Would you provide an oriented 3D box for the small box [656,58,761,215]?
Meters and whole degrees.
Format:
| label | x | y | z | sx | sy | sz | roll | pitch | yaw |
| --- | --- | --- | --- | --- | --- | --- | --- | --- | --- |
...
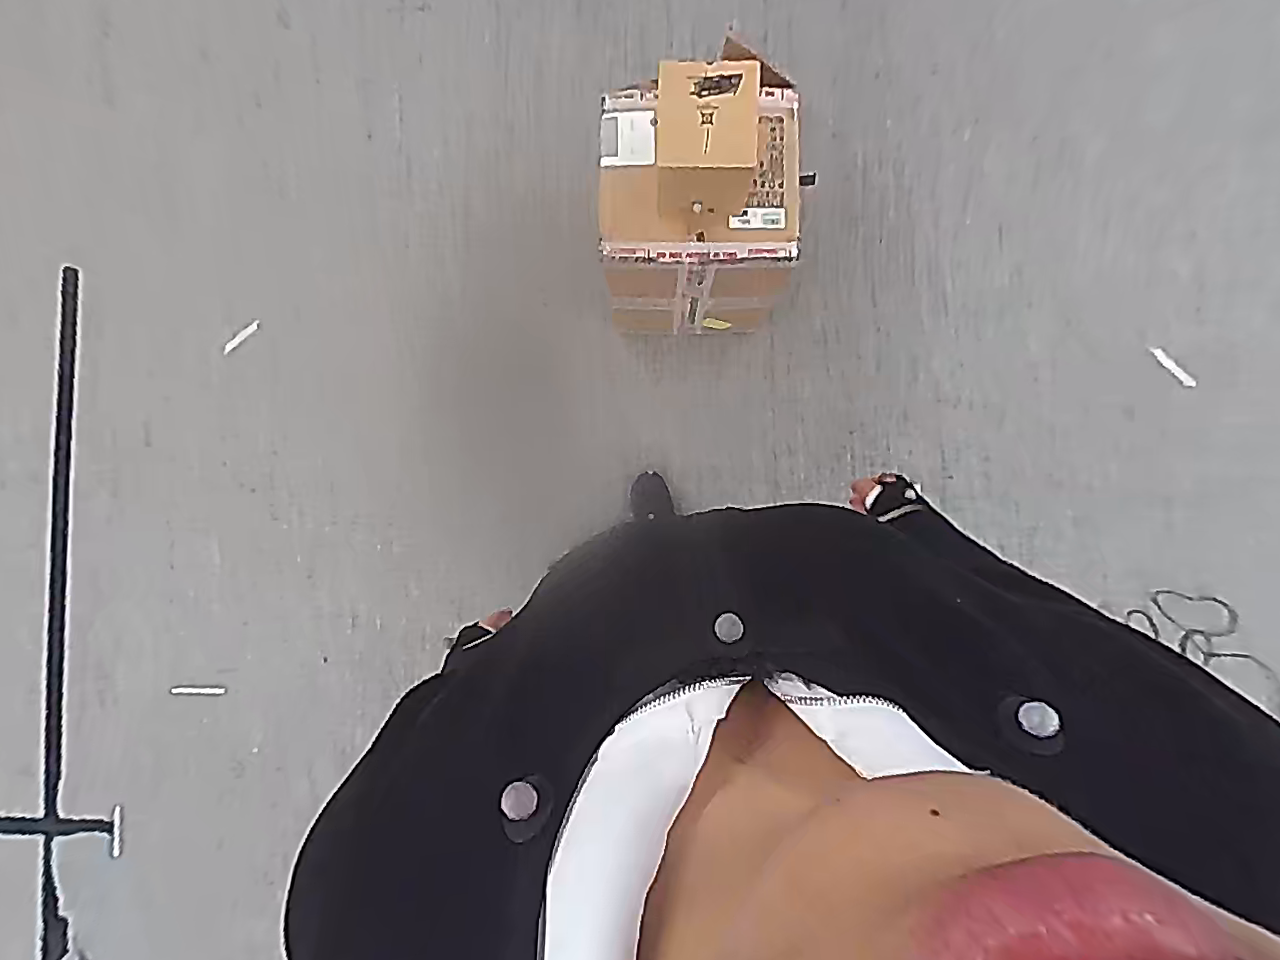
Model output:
| label | x | y | z | sx | sy | sz | roll | pitch | yaw |
| --- | --- | --- | --- | --- | --- | --- | --- | --- | --- |
| small box | 0.114 | -0.601 | 0.961 | 0.168 | 0.176 | 0.179 | 2 | 91 | 2 |
